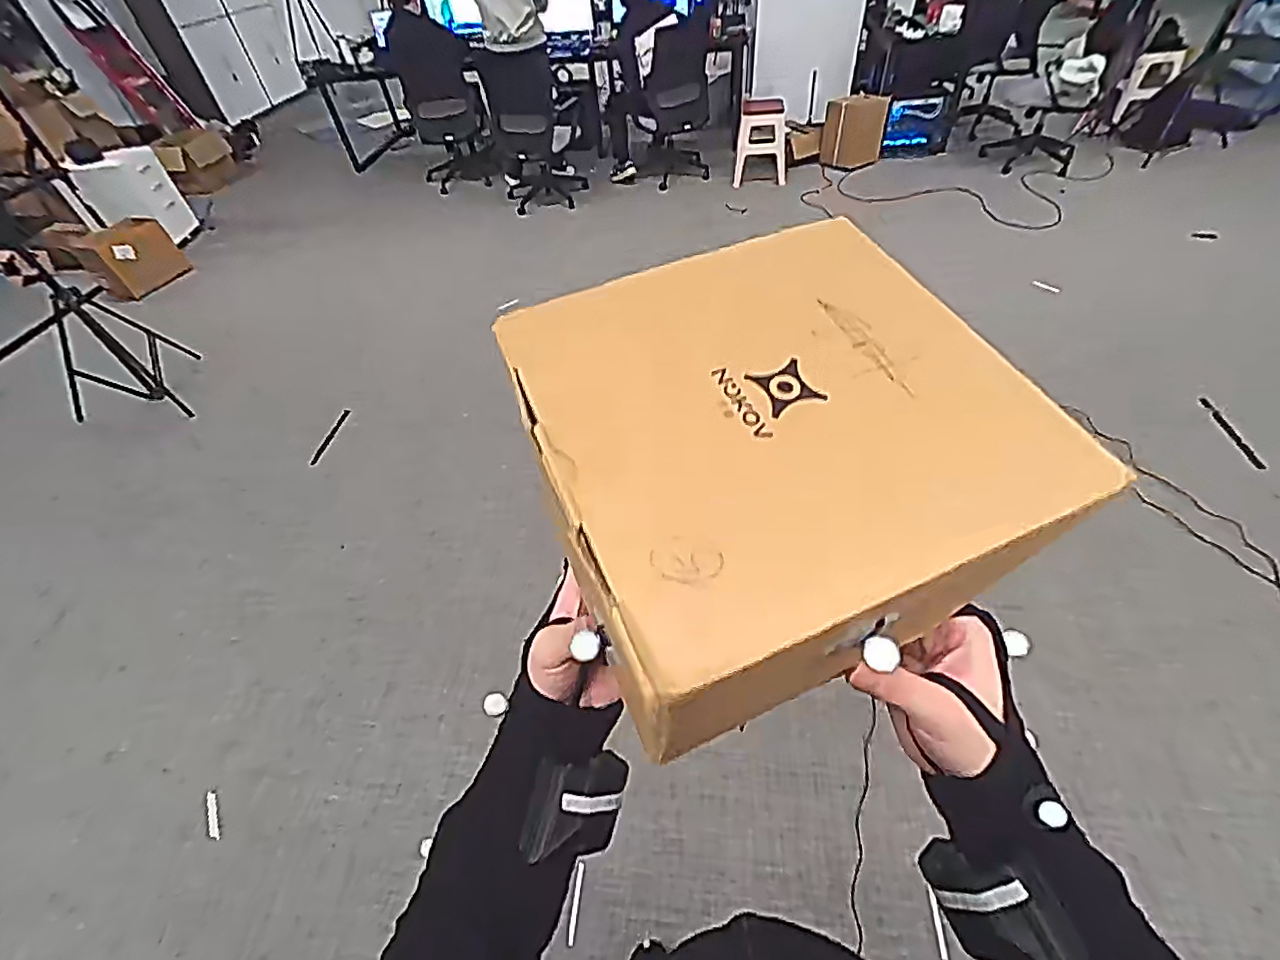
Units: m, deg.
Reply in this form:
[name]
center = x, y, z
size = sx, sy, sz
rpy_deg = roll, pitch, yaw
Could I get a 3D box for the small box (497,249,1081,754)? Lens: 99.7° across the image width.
[small box]
center = 0.049, 0.019, 0.280
size = 0.179, 0.176, 0.168
rpy_deg = -21, 60, -12
